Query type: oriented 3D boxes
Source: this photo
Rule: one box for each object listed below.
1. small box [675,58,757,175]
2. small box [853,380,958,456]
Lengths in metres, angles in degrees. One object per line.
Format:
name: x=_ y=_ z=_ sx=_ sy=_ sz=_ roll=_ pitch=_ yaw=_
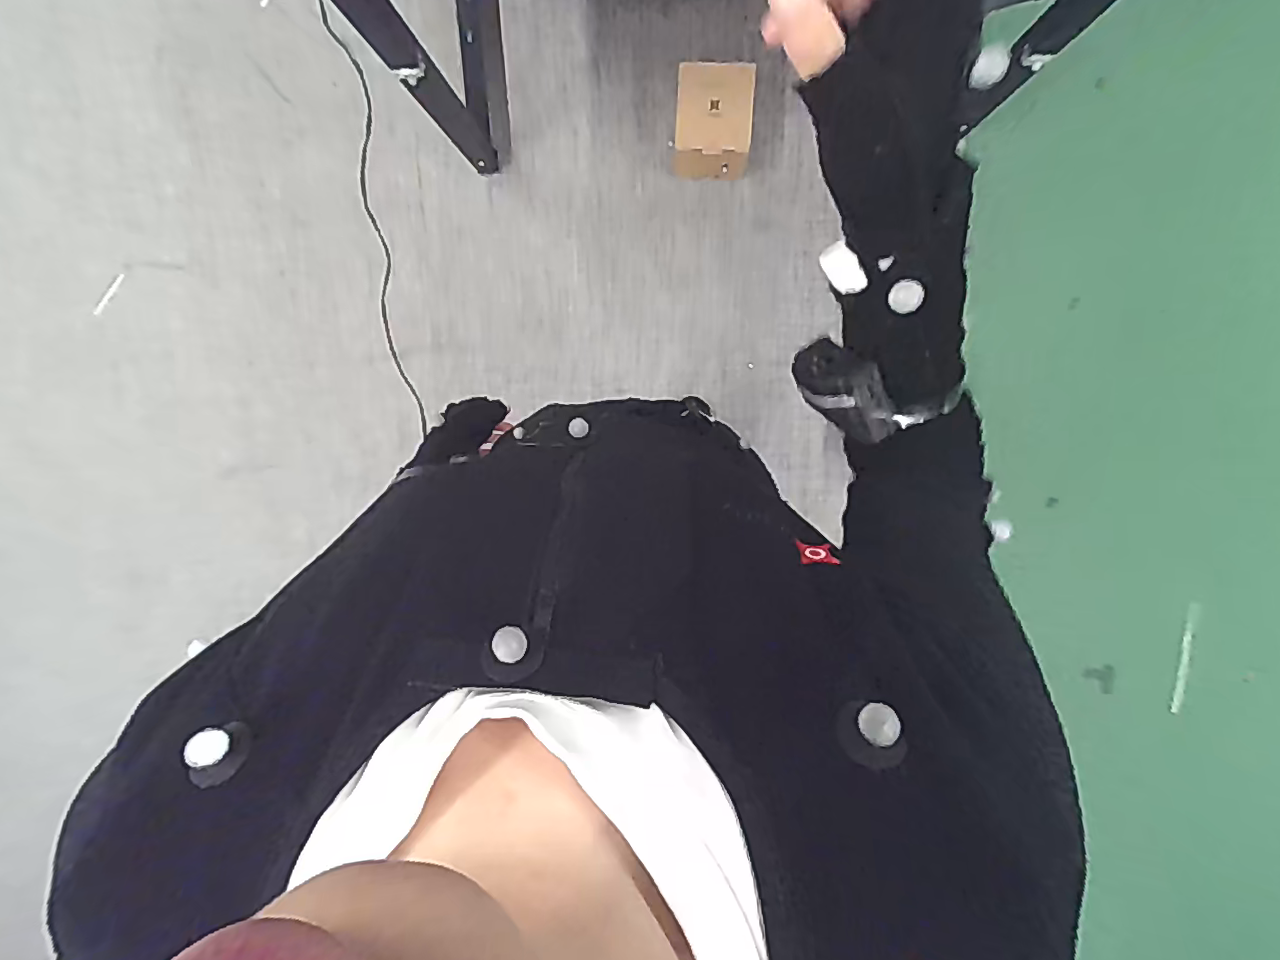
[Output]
small box: x=0.168 y=-0.824 z=1.242 sx=0.168 sy=0.176 sz=0.179 roll=3 pitch=98 yaw=2
small box: x=0.638 y=-0.153 z=1.324 sx=0.179 sy=0.176 sz=0.168 roll=4 pitch=99 yaw=3
